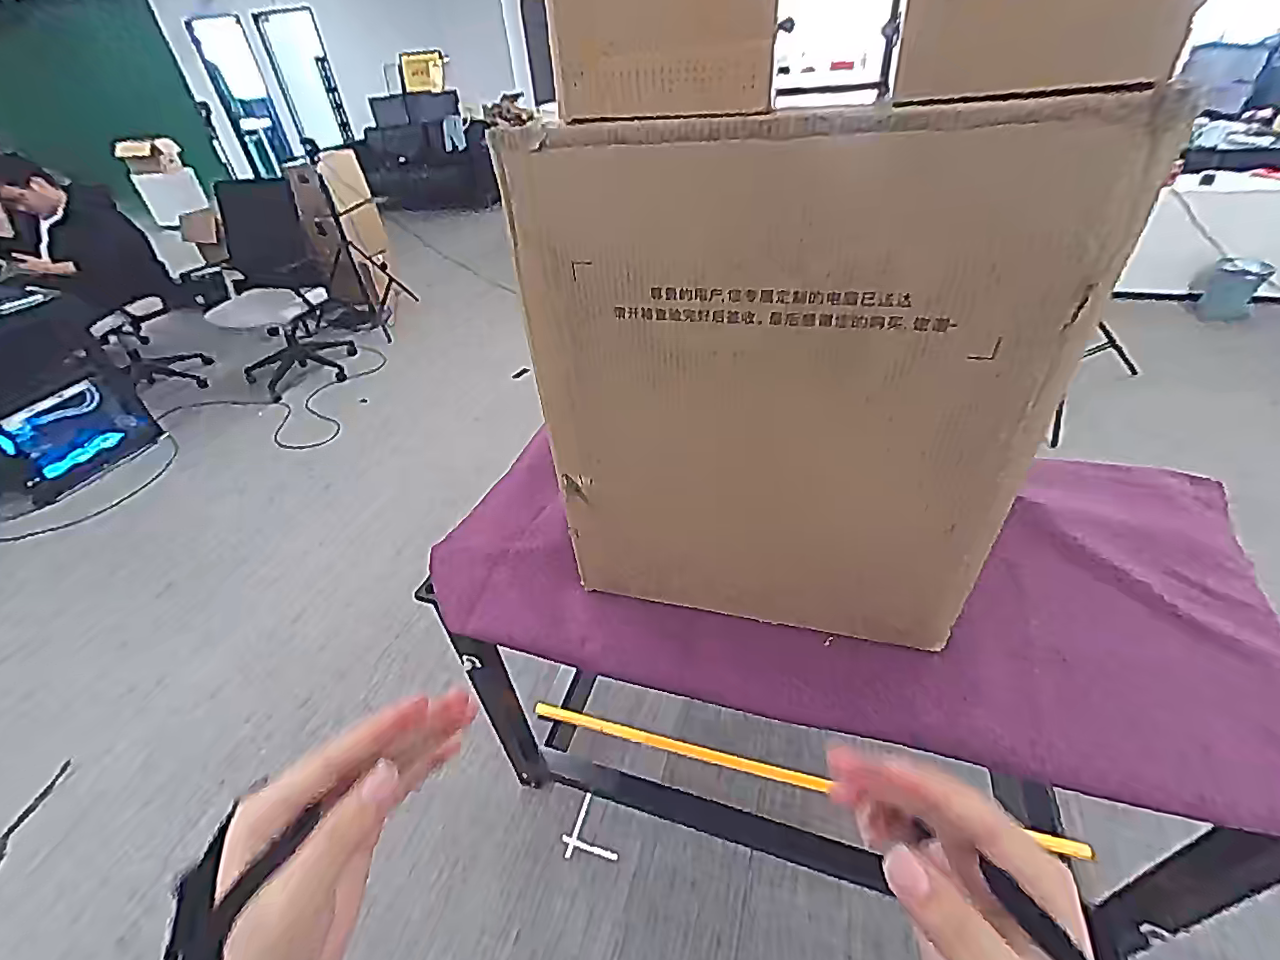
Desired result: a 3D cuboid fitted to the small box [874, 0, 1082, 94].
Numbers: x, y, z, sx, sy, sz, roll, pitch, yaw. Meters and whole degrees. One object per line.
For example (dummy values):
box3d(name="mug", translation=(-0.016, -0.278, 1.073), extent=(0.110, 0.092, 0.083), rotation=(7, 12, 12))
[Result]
box3d(name="small box", translation=(0.337, -0.500, 0.545), extent=(0.168, 0.176, 0.179), rotation=(8, 40, 17))
